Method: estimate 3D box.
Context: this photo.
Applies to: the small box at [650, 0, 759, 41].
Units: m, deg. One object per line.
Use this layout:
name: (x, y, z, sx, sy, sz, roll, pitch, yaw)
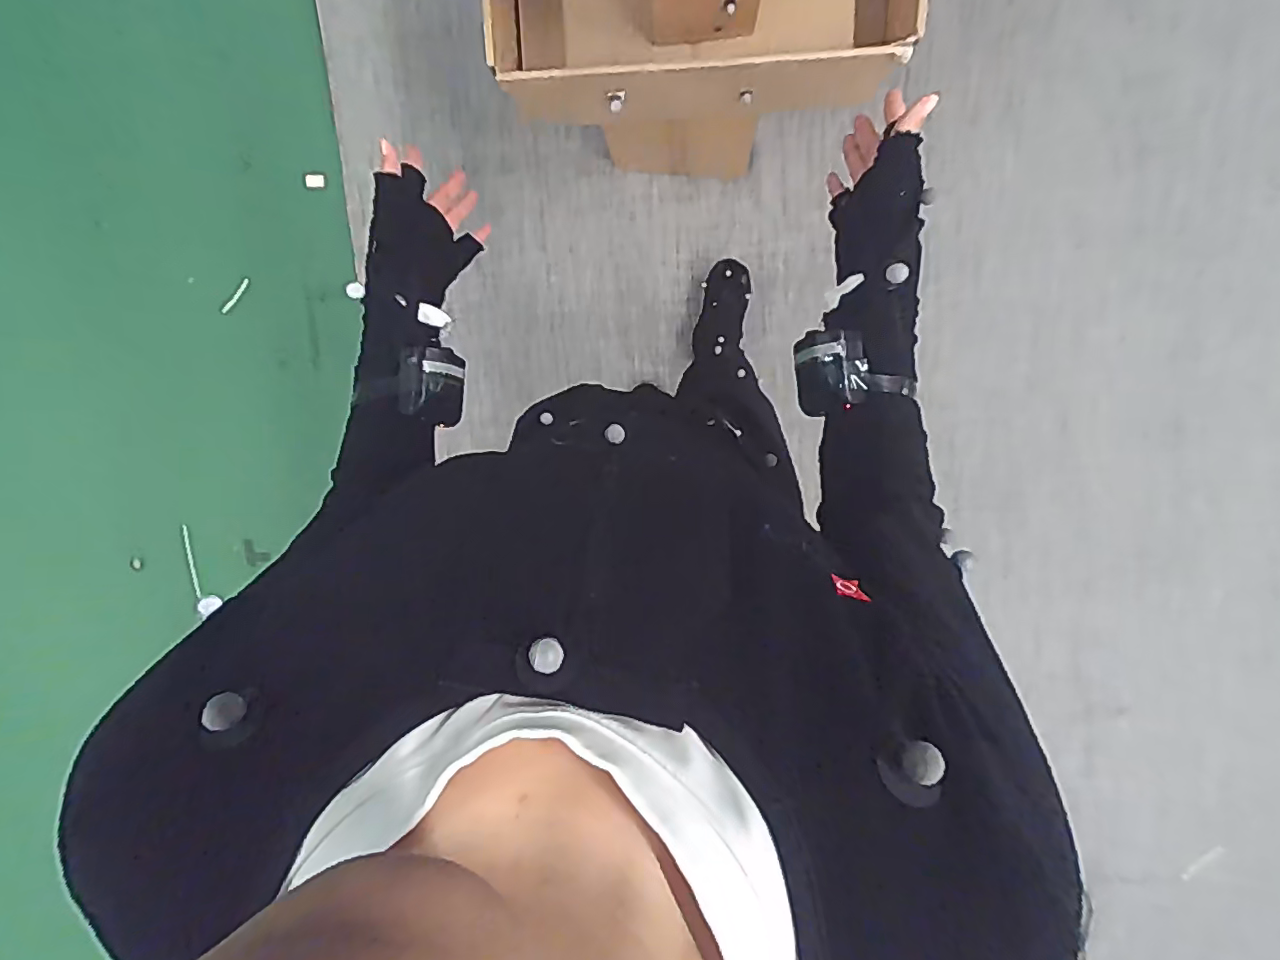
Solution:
small box: (0.093, -0.784, 0.791, 0.168, 0.176, 0.179, -3, 99, 4)
